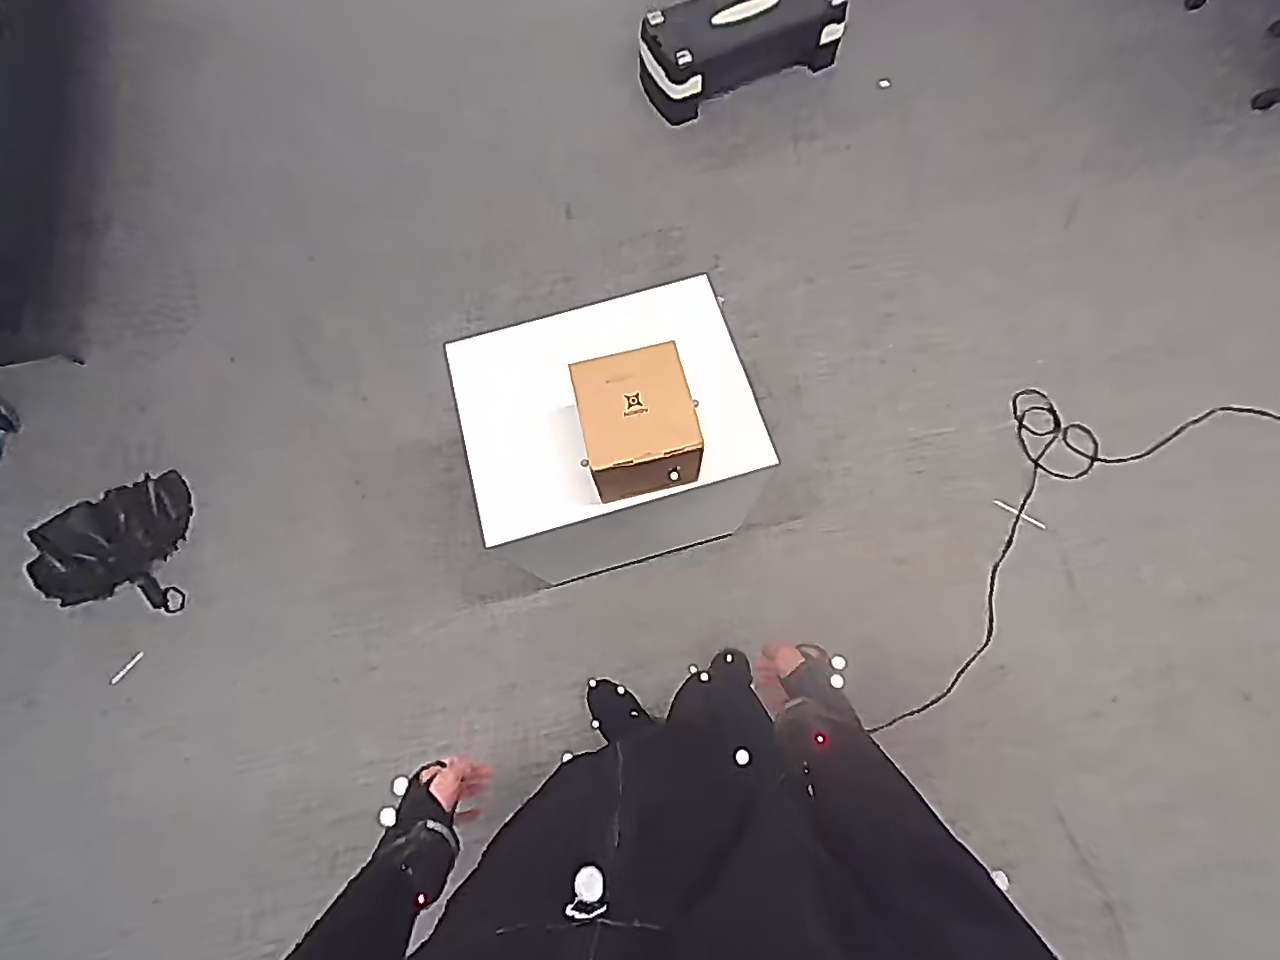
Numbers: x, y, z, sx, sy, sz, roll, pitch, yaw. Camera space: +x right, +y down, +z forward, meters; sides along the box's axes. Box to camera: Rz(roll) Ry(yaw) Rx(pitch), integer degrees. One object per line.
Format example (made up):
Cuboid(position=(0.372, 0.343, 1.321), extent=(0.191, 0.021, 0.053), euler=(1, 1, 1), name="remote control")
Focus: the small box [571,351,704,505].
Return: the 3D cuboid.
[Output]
Cuboid(position=(-0.002, -0.071, 0.856), extent=(0.168, 0.176, 0.179), euler=(-13, 70, -3), name="small box")
